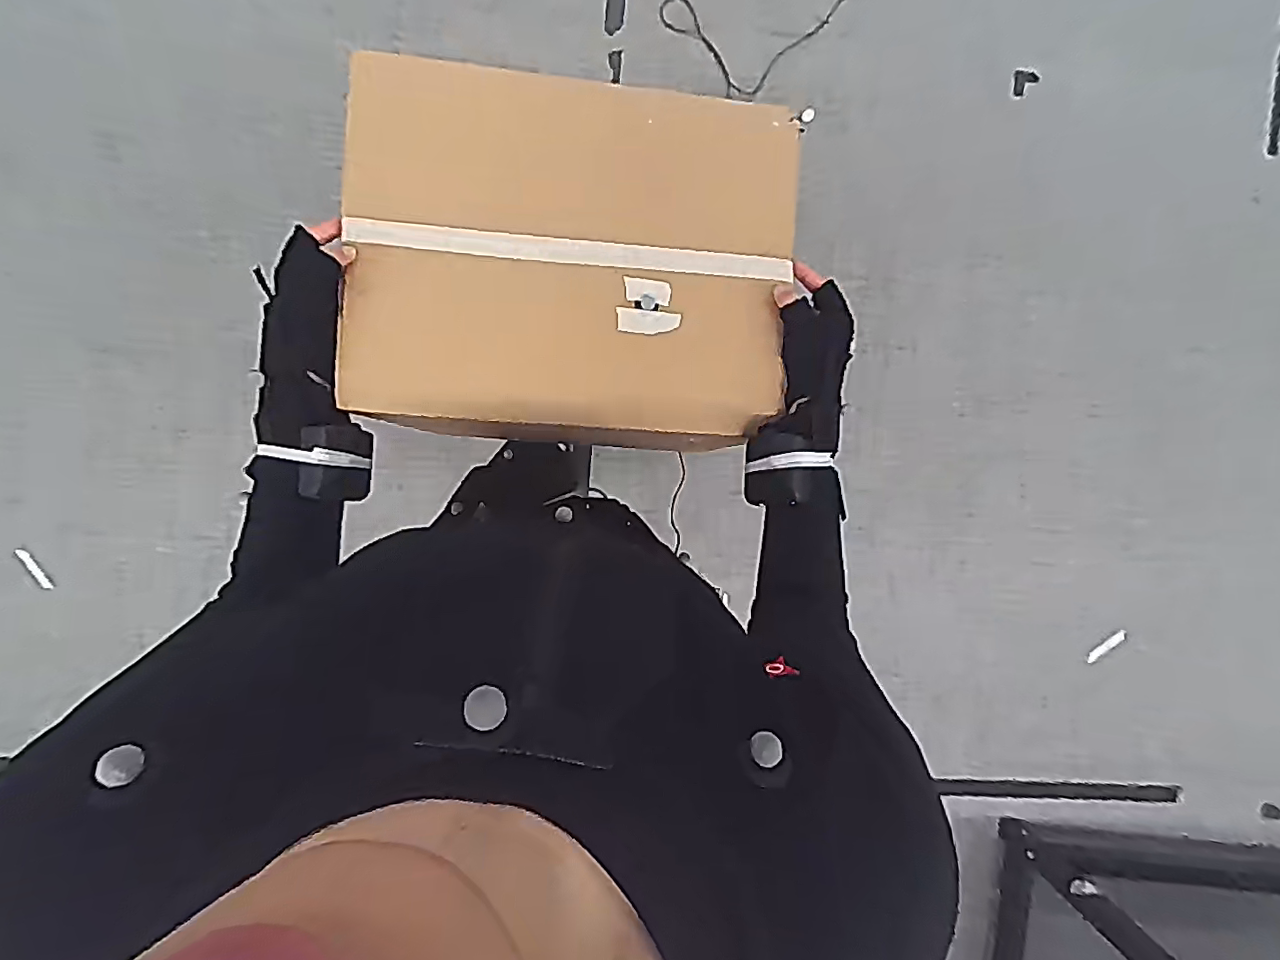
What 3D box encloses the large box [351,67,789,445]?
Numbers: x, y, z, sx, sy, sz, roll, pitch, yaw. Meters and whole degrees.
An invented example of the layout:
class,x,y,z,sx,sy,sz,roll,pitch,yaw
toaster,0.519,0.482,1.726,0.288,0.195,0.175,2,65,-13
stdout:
class,x,y,z,sx,sy,sz,roll,pitch,yaw
large box,-0.077,-0.211,0.652,0.408,0.320,0.320,3,92,-7
